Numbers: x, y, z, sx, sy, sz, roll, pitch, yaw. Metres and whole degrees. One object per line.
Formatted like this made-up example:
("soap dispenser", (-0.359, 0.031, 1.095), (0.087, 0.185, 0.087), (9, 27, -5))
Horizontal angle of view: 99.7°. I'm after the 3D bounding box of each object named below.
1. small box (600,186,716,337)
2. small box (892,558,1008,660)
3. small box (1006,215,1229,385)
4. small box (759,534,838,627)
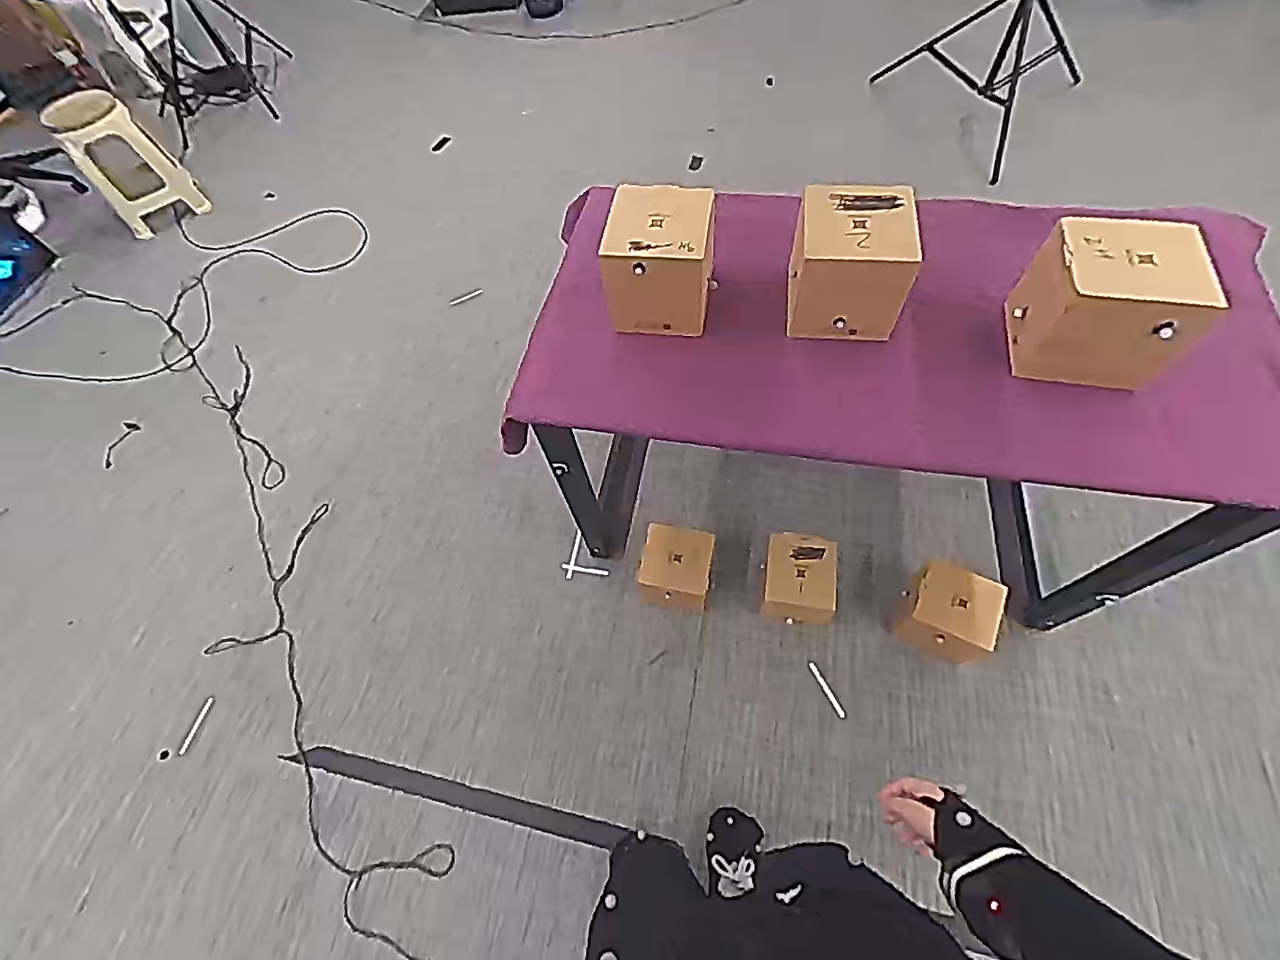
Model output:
("small box", (0.037, -0.375, 0.932), (0.168, 0.176, 0.179), (6, 61, 9))
("small box", (0.744, 0.319, 1.310), (0.179, 0.176, 0.168), (23, 66, 18))
("small box", (0.682, -0.259, 0.799), (0.179, 0.176, 0.168), (9, 61, 11))
("small box", (0.400, 0.258, 1.379), (0.168, 0.176, 0.179), (7, 63, 10))
